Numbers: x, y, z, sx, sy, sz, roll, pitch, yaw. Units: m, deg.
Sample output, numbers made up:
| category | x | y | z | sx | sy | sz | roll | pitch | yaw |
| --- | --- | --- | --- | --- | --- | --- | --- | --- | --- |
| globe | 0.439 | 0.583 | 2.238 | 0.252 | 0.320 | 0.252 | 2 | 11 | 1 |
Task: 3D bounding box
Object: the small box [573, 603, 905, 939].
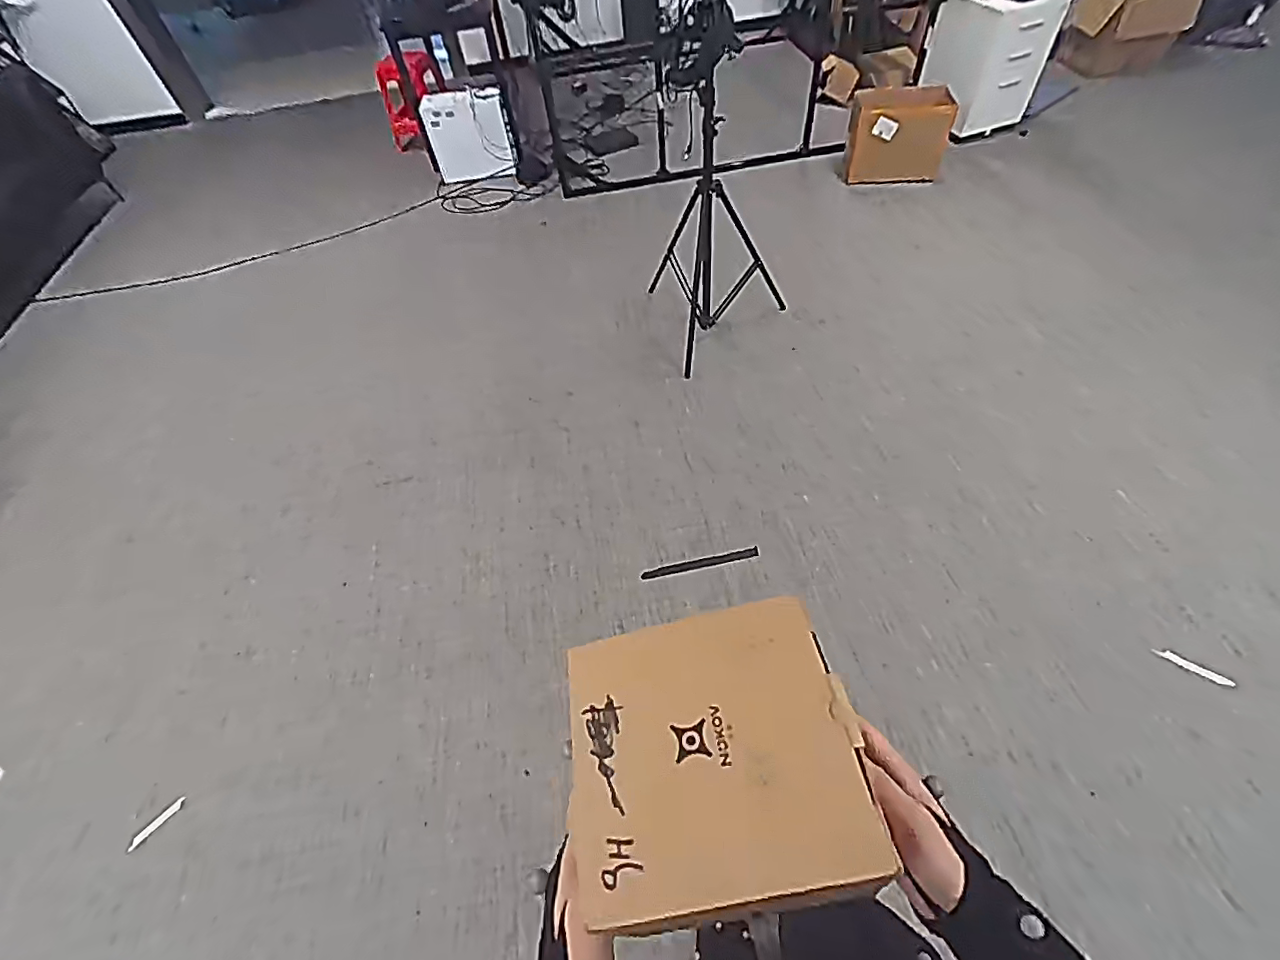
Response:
| category | x | y | z | sx | sy | sz | roll | pitch | yaw |
| --- | --- | --- | --- | --- | --- | --- | --- | --- | --- |
| small box | 0.061 | 0.216 | 0.395 | 0.179 | 0.176 | 0.168 | -14 | 48 | 5 |
